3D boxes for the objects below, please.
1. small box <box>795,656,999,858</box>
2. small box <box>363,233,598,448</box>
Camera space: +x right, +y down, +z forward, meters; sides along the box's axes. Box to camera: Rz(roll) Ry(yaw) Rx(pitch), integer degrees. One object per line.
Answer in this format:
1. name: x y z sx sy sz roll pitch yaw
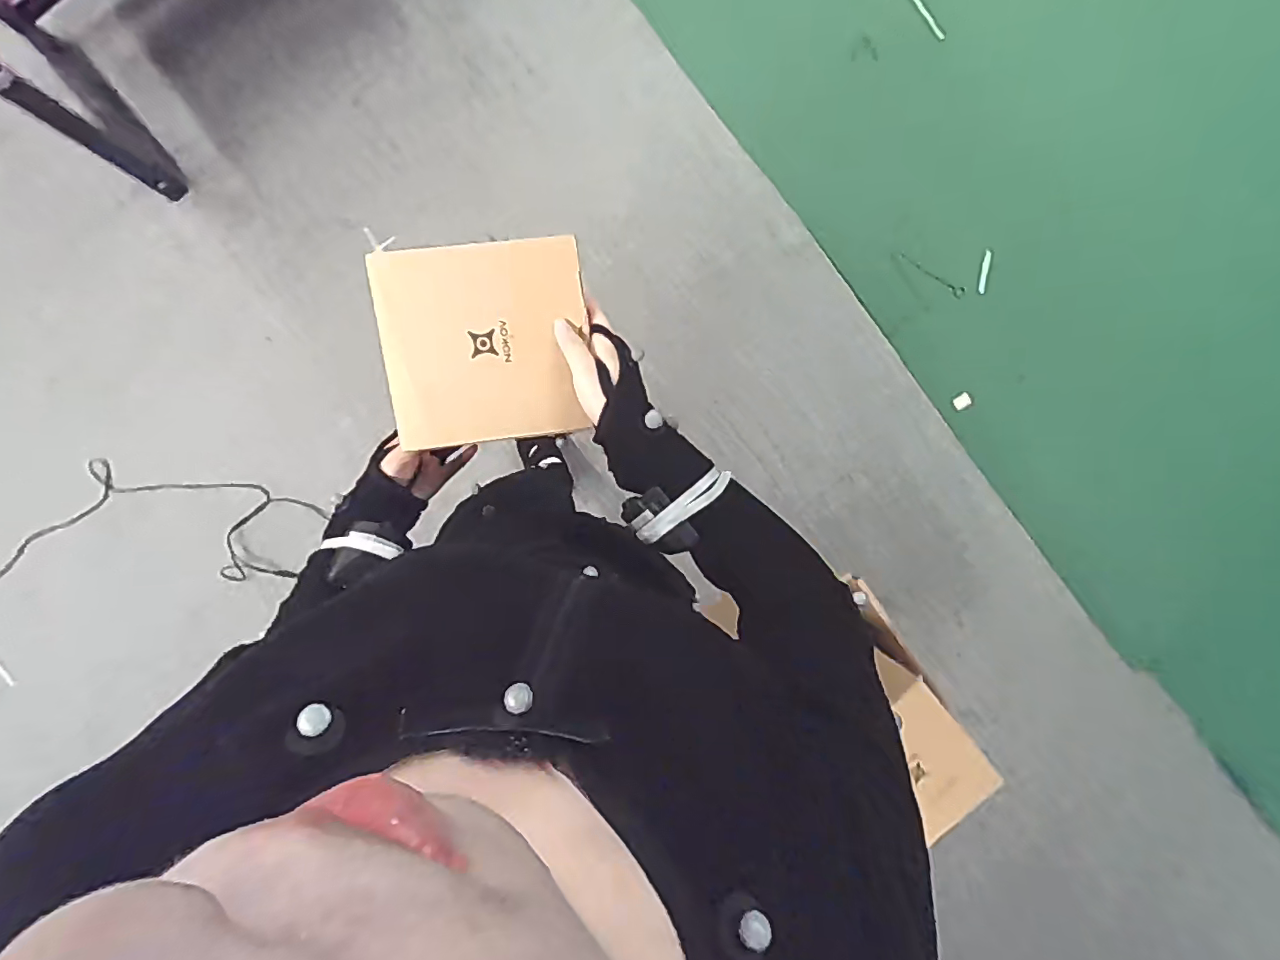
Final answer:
1. small box: 0.355 0.381 0.788 0.168 0.176 0.179 -38 90 0
2. small box: -0.141 -0.124 0.537 0.179 0.176 0.168 -9 97 -6
